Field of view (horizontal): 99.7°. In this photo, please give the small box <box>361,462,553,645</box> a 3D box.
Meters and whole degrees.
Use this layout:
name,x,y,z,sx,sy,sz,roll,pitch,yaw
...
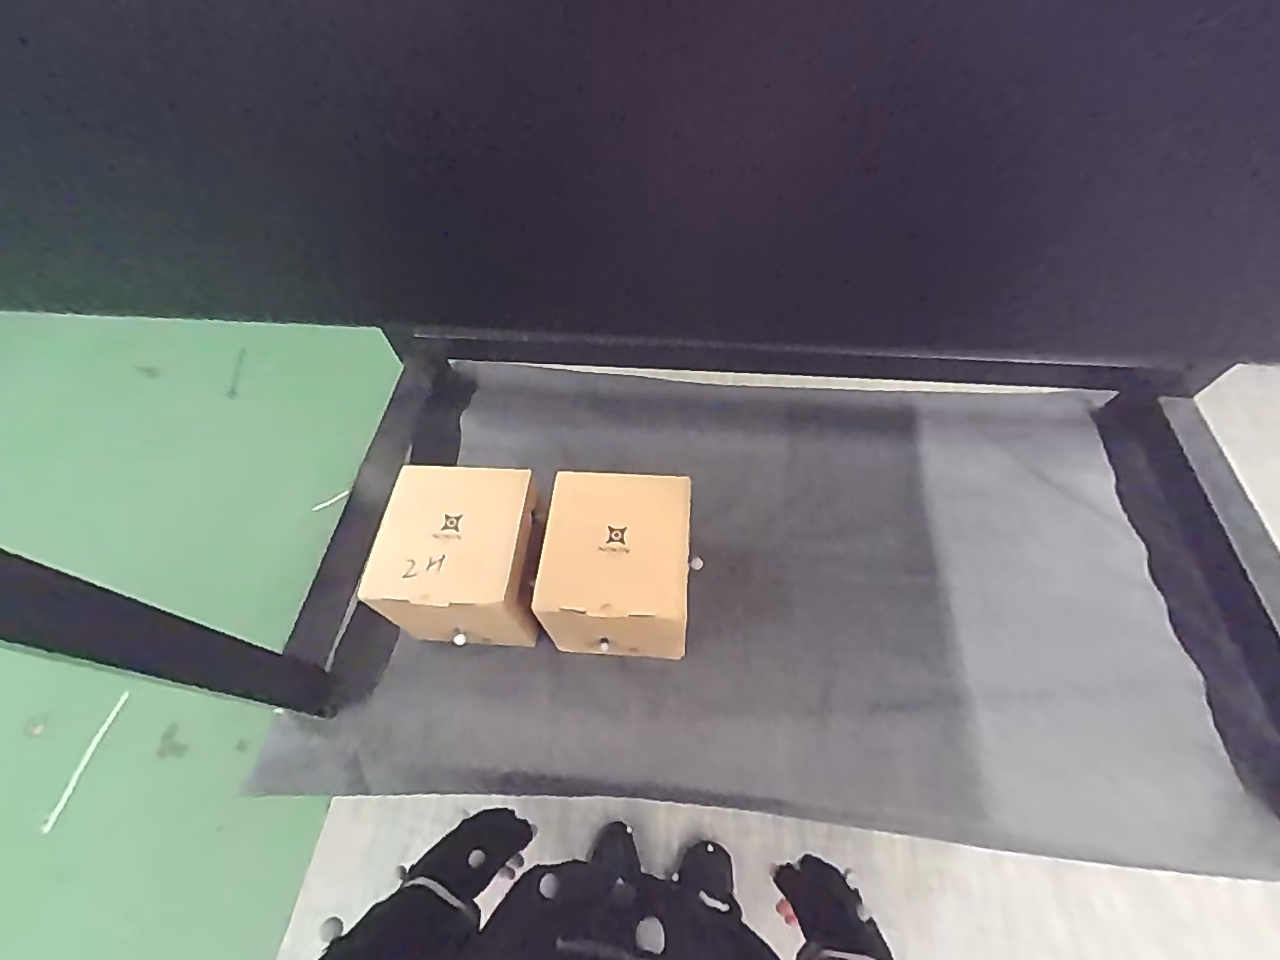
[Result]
name,x,y,z,sx,sy,sz,roll,pitch,yaw
small box,-0.214,0.097,0.691,0.168,0.176,0.179,2,59,5
